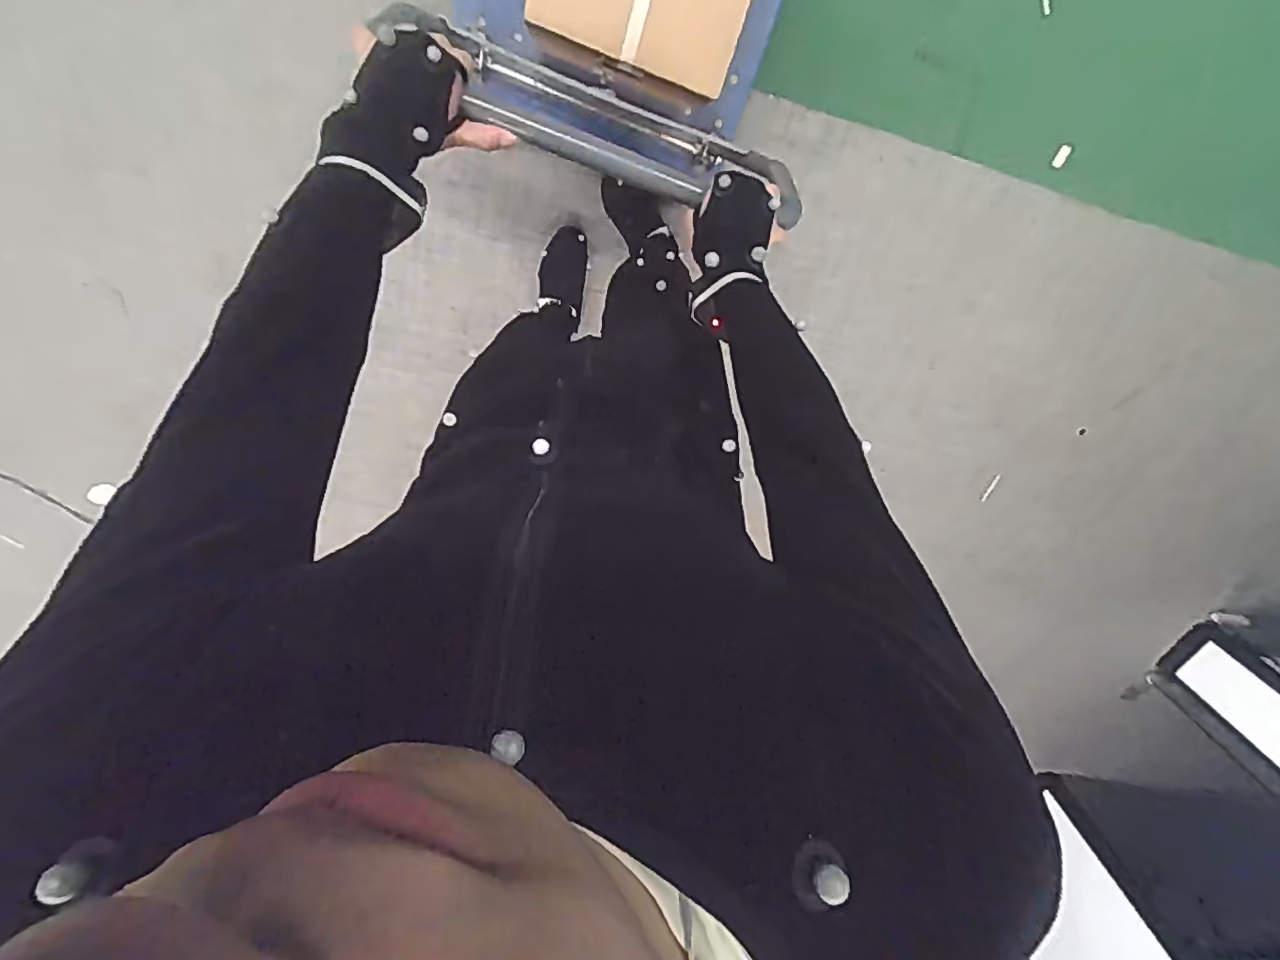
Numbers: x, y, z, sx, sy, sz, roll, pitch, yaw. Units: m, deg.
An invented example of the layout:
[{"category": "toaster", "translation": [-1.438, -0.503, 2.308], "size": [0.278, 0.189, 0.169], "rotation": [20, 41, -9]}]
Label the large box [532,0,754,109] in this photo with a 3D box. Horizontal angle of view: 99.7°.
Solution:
[{"category": "large box", "translation": [0.033, -0.879, 0.859], "size": [0.320, 0.320, 0.408], "rotation": [13, 119, -14]}]
